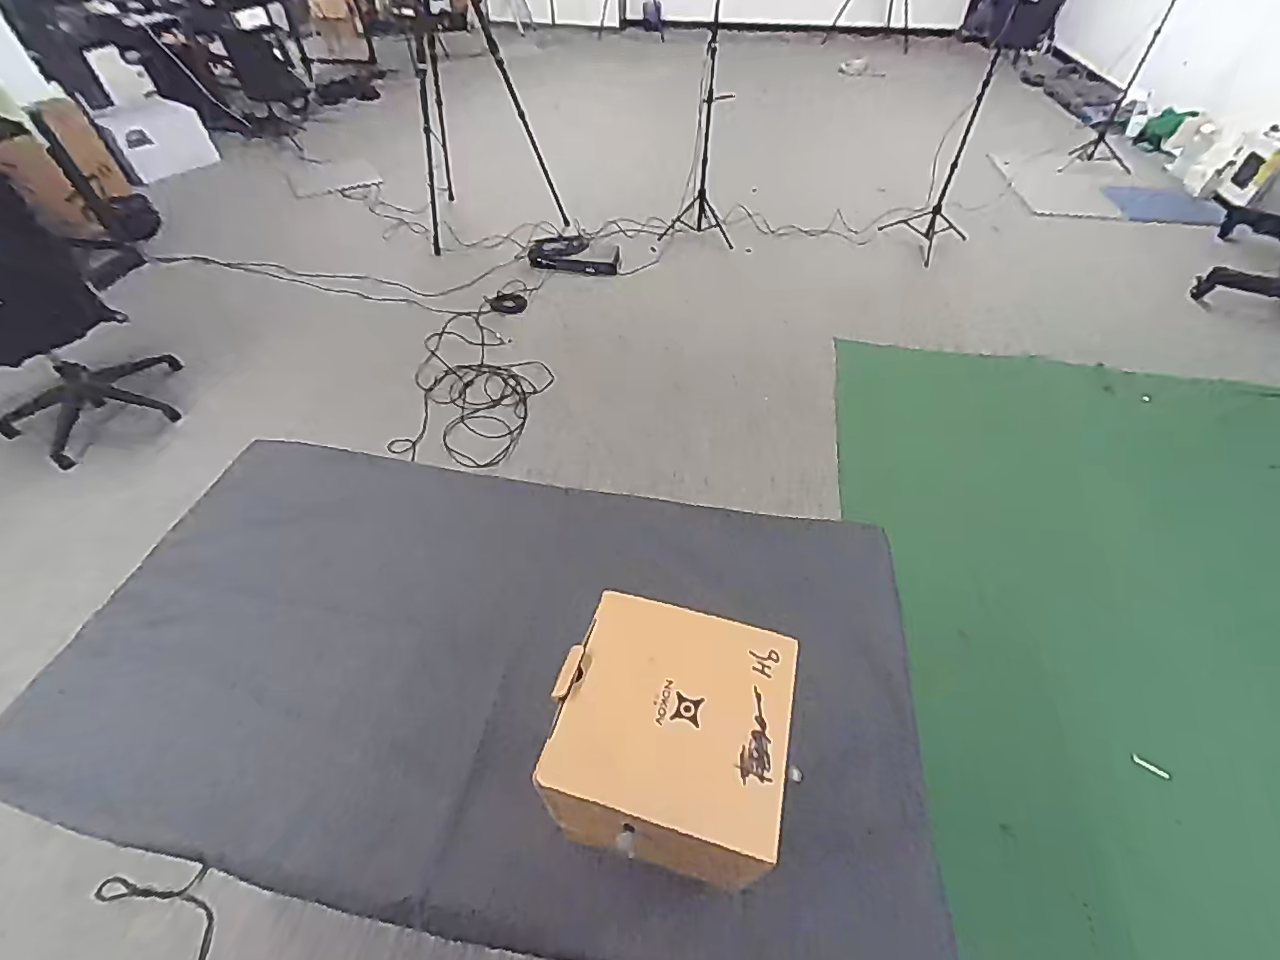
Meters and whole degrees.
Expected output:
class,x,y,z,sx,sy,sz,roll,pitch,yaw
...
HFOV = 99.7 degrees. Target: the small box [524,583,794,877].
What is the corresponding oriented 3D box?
class,x,y,z,sx,sy,sz,roll,pitch,yaw
small box,0.023,0.219,0.472,0.179,0.176,0.168,12,50,11
